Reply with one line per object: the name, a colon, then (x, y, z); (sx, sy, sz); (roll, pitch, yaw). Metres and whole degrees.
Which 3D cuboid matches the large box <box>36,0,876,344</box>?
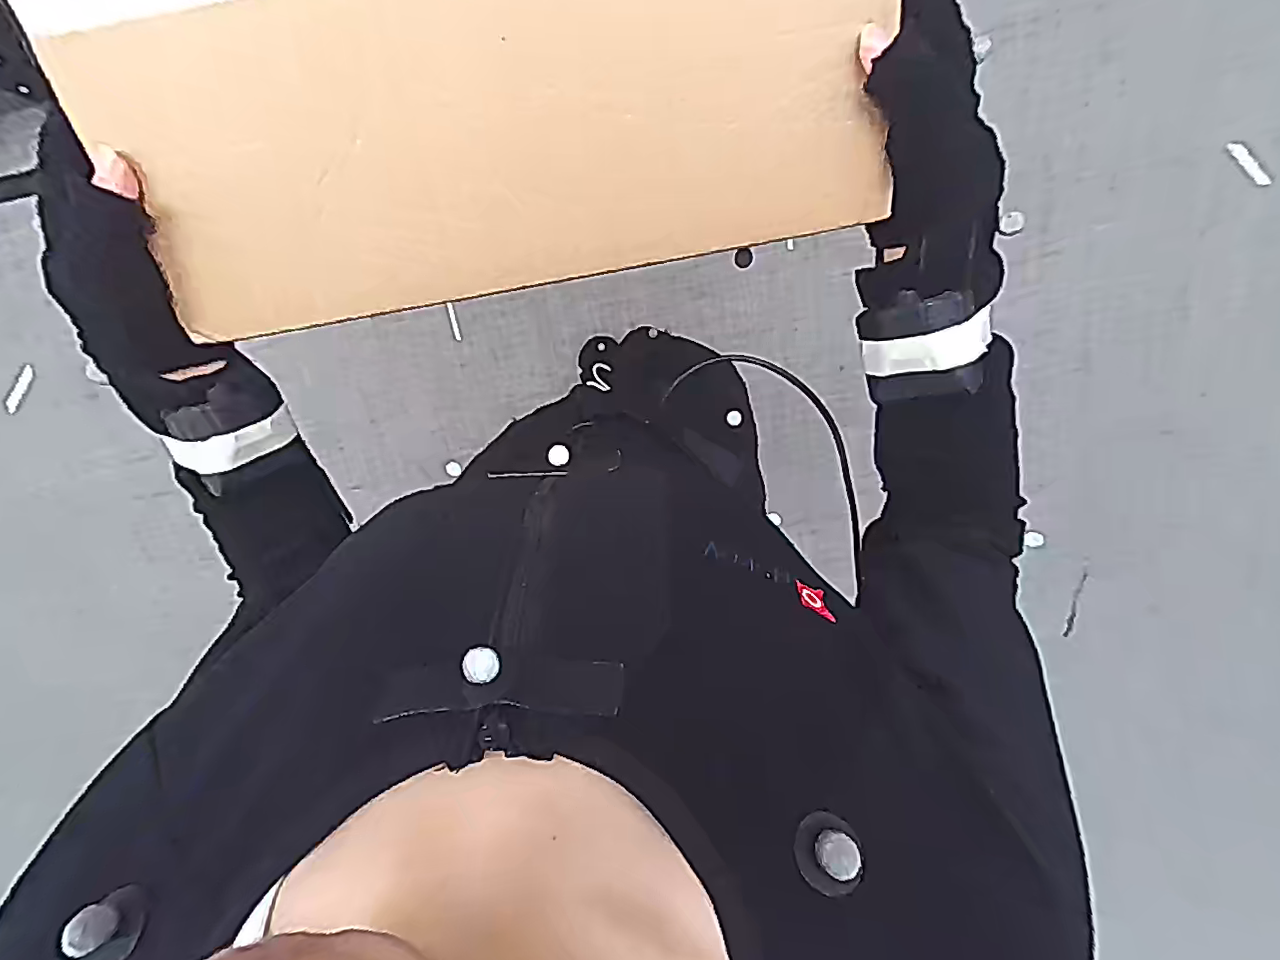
large box: (-0.091, -0.317, 0.385); (0.408, 0.320, 0.320); (-9, 115, 3)
